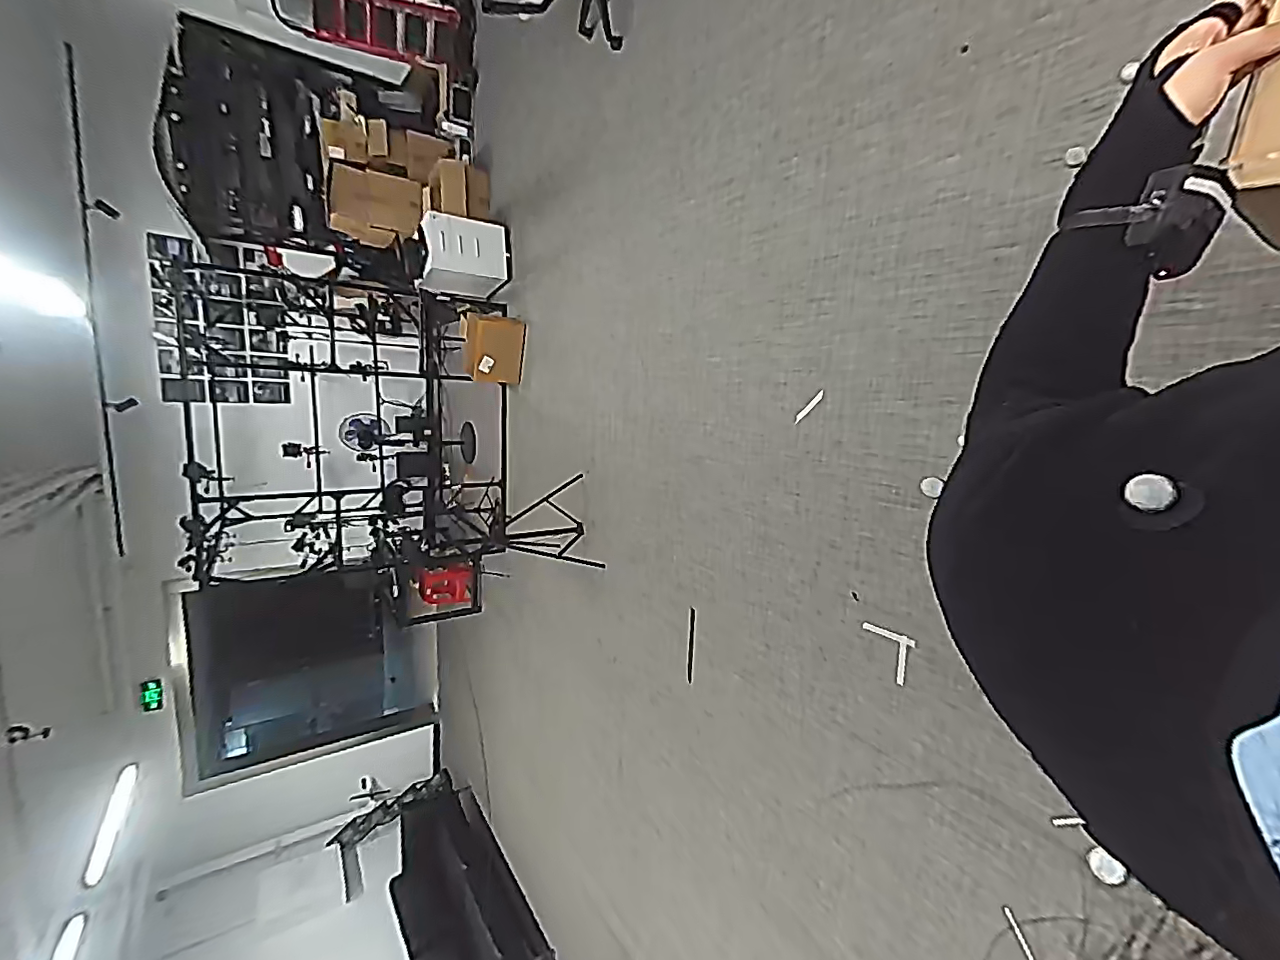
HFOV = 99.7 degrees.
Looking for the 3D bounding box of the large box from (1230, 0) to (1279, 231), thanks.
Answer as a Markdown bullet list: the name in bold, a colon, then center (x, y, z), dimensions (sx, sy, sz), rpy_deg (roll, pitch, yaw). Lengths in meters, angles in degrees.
- **large box**: center (0.688, -0.337, 0.299), dimensions (0.408, 0.320, 0.320), rpy_deg (21, 111, 54)
